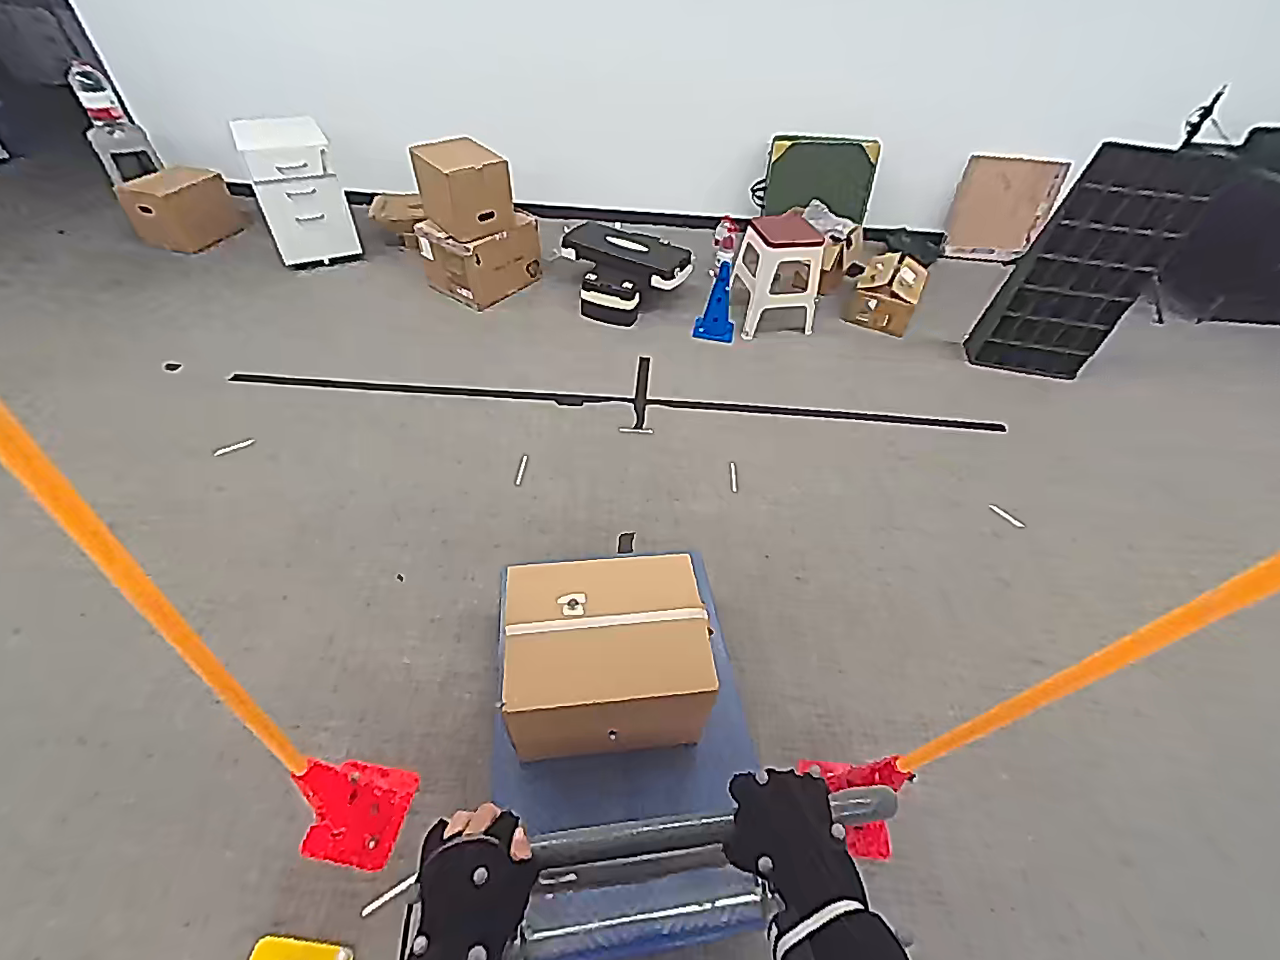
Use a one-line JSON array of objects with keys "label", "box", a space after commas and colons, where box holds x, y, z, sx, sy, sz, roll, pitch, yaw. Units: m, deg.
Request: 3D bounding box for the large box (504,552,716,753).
[{"label": "large box", "box": [-0.074, 0.386, 1.209, 0.408, 0.320, 0.320, -3, 48, -6]}]

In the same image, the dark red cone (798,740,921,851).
[{"label": "dark red cone", "box": [0.502, 0.654, 1.177, 0.201, 0.394, 0.202, 6, 47, -1]}]

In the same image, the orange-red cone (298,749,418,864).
[{"label": "orange-red cone", "box": [-0.631, 0.637, 1.131, 0.198, 0.360, 0.199, 11, 46, 4]}]
